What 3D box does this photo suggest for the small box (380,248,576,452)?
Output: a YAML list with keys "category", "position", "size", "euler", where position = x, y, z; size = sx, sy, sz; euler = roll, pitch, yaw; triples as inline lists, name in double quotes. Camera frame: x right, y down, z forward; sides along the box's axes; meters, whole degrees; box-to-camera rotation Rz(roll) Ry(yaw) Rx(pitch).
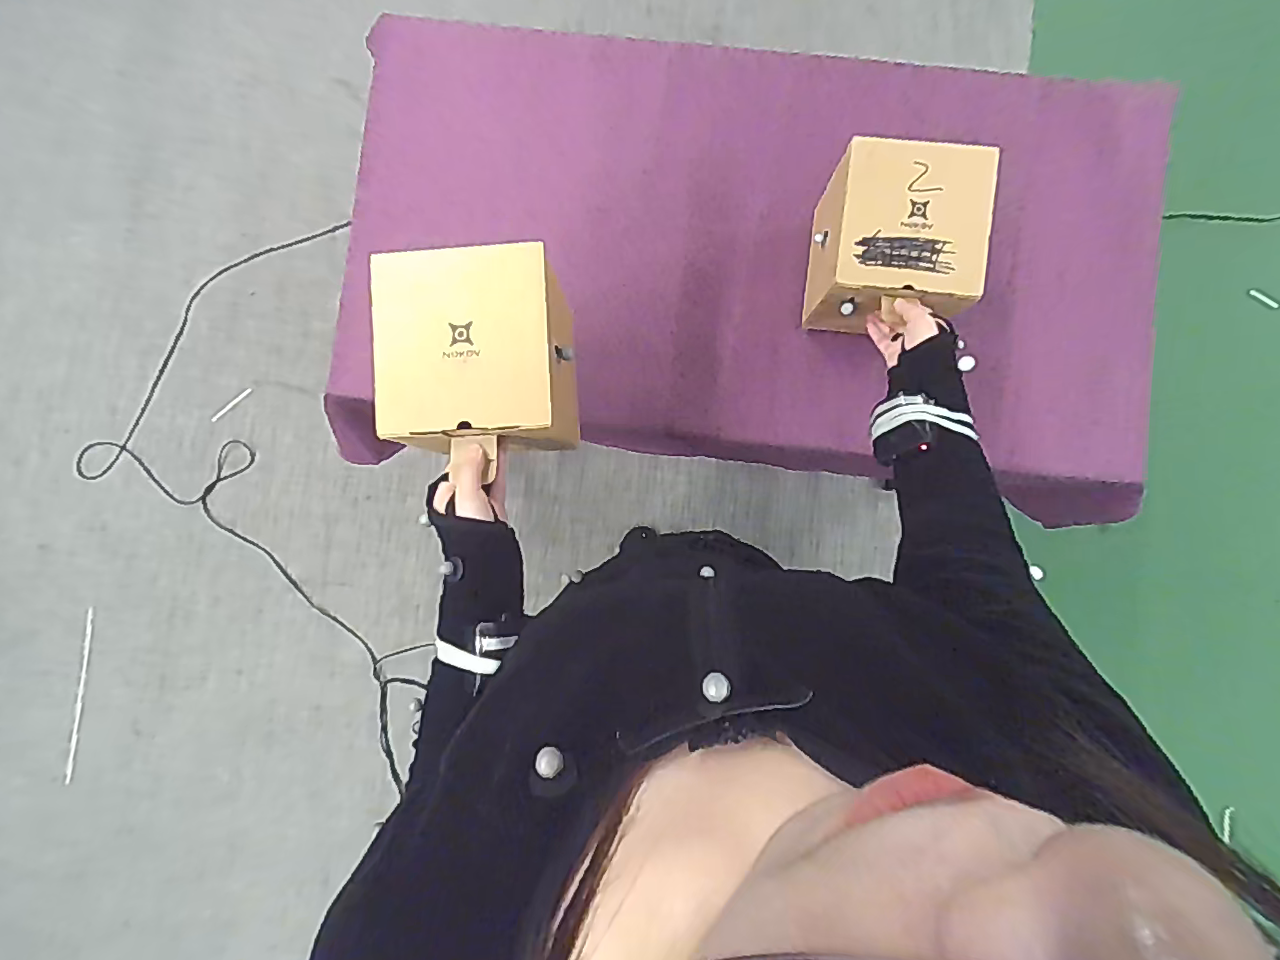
- category: "small box"
  position: [-0.165, -0.129, 0.595]
  size: [0.168, 0.176, 0.179]
  euler: [-3, 87, 2]
